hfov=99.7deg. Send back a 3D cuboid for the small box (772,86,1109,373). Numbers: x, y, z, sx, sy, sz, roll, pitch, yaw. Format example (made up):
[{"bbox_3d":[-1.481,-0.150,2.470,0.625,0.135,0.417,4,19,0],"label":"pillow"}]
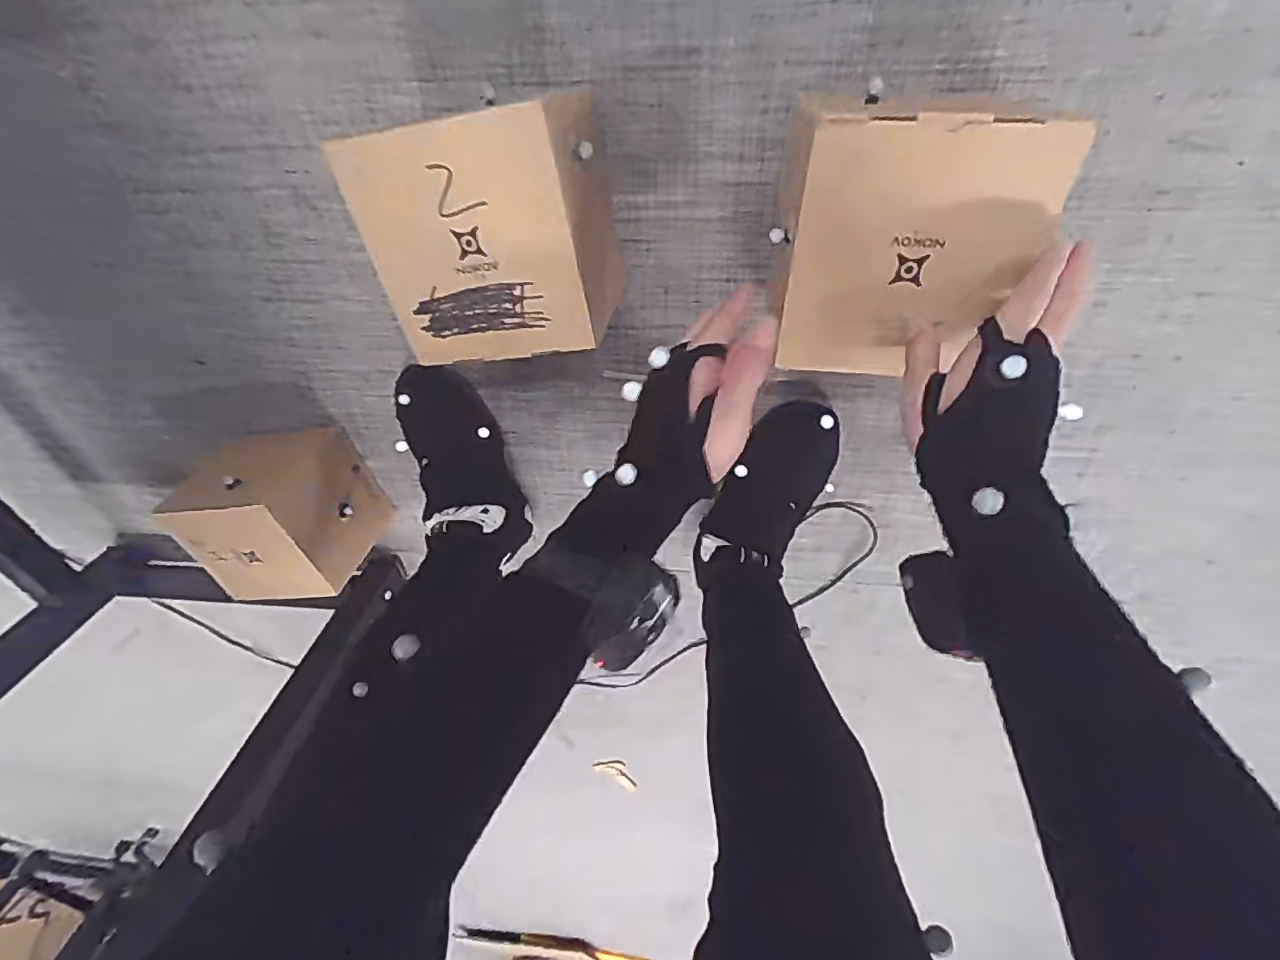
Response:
[{"bbox_3d":[0.205,-0.208,0.438,0.168,0.176,0.179,6,129,6],"label":"small box"}]

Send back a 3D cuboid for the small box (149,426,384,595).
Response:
[{"bbox_3d":[-0.485,0.038,0.742,0.179,0.176,0.168,-4,127,12],"label":"small box"}]
